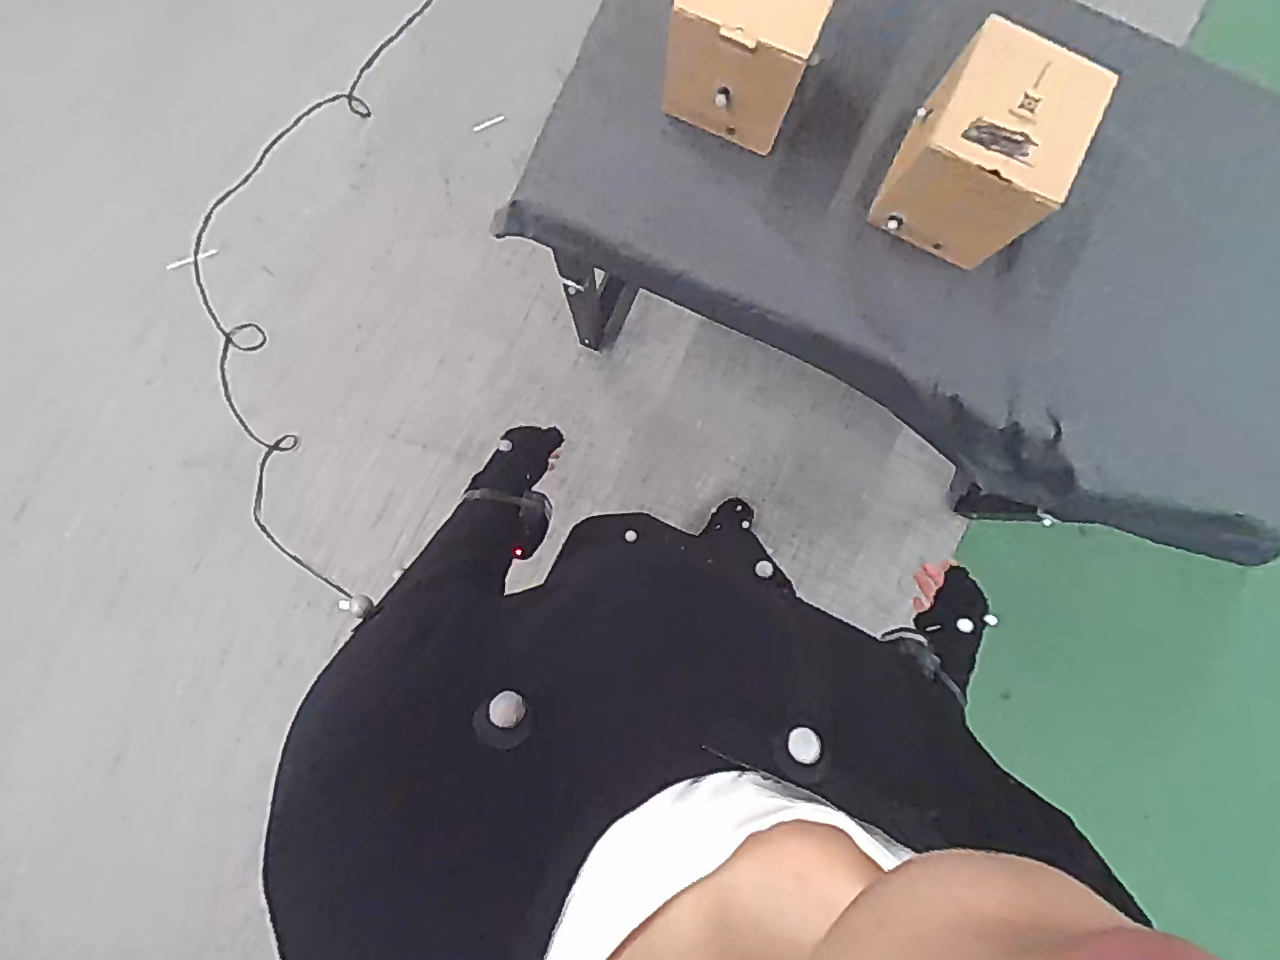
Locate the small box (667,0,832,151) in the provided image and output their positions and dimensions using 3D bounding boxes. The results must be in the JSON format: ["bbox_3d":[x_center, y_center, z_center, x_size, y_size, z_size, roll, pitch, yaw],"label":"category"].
[{"bbox_3d":[0.141,-0.575,0.699,0.168,0.176,0.179,23,88,0],"label":"small box"}]

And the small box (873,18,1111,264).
[{"bbox_3d":[0.431,-0.415,0.696,0.168,0.176,0.179,26,86,0],"label":"small box"}]
